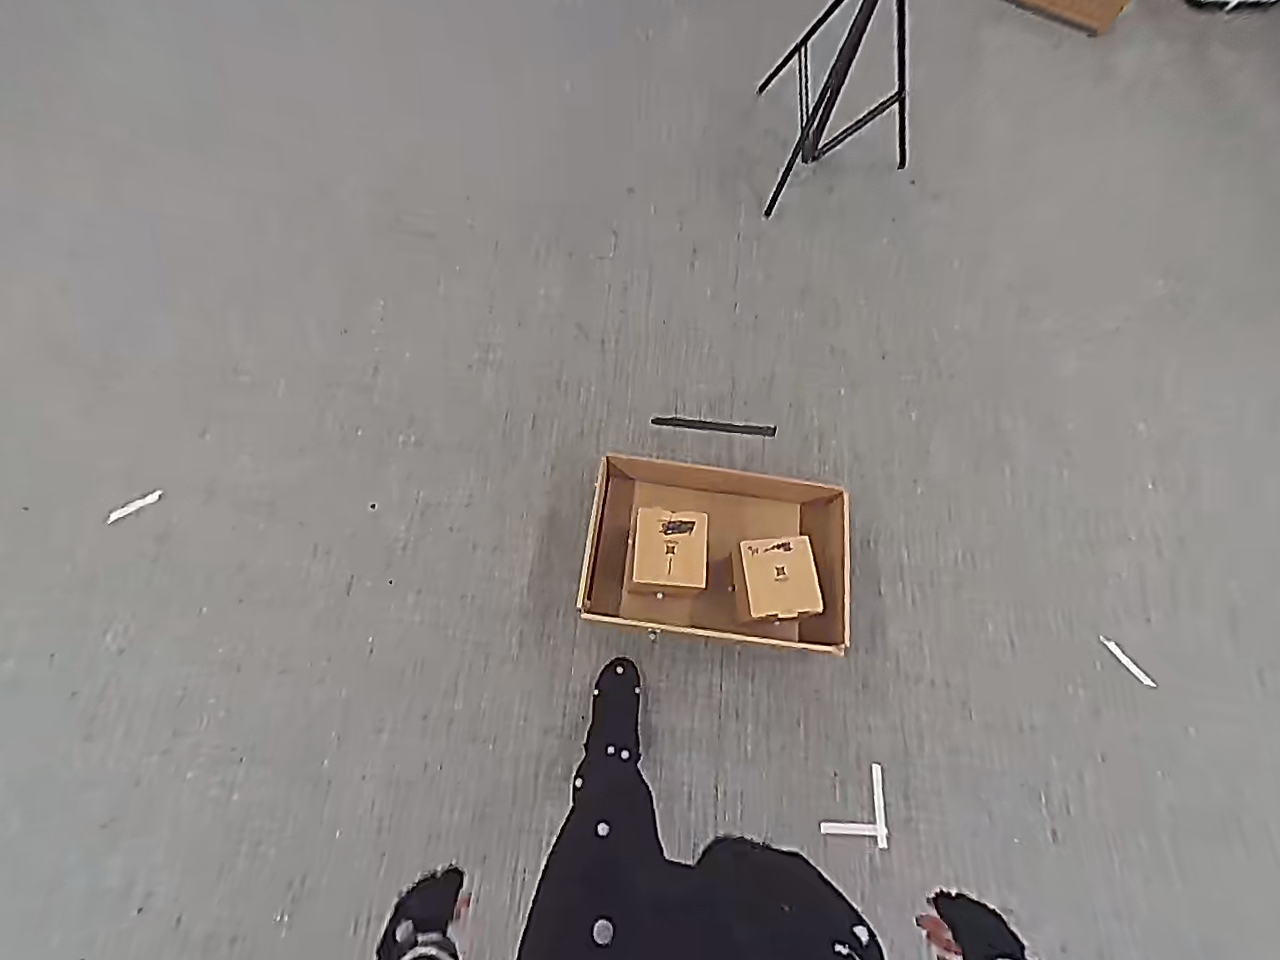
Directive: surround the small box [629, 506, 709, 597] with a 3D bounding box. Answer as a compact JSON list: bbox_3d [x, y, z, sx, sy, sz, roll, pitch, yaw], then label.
[{"bbox_3d":[0.065,0.175,1.295,0.168,0.176,0.179,6,70,-3],"label":"small box"}]
